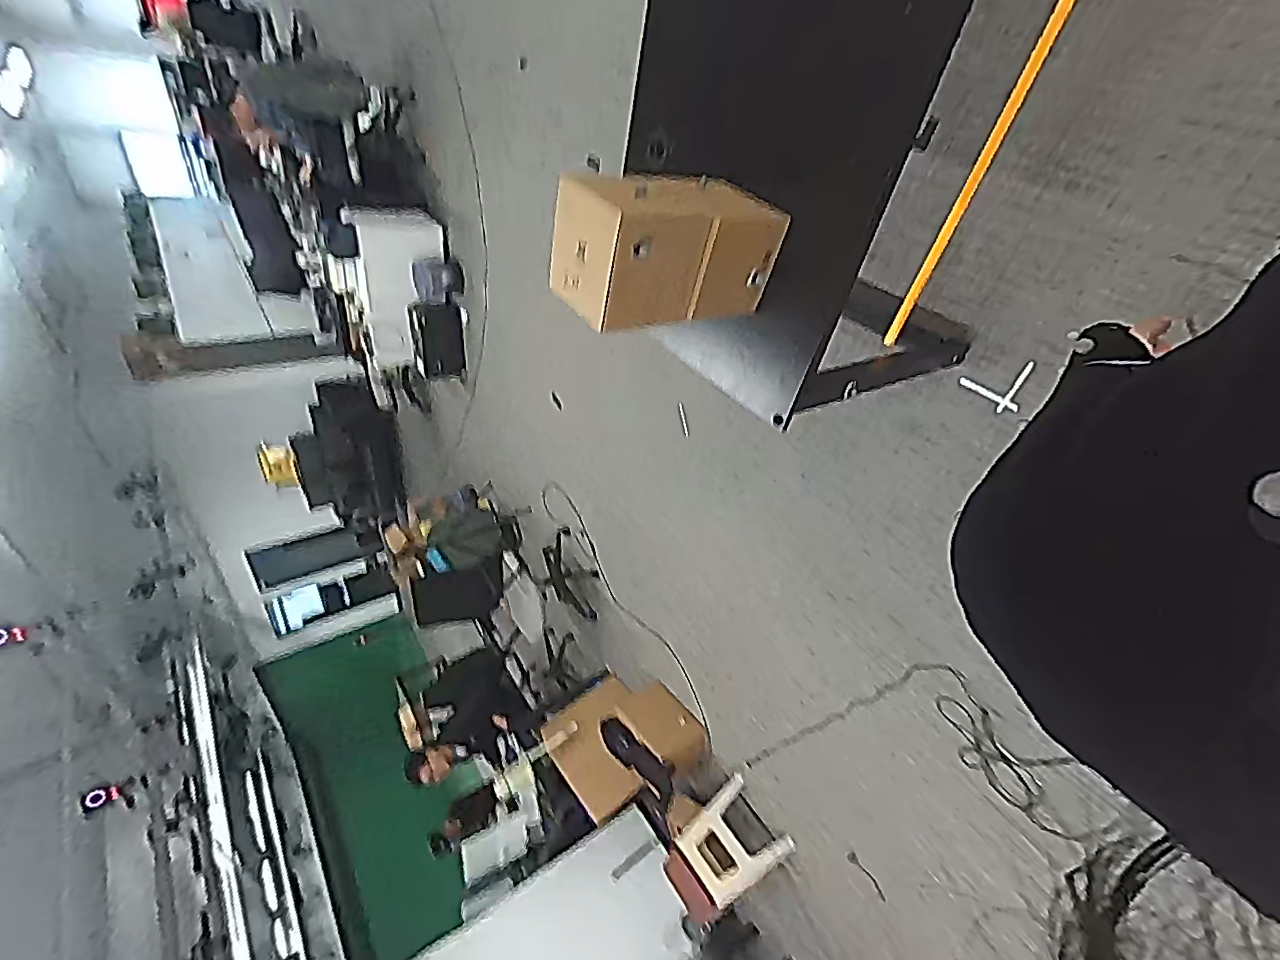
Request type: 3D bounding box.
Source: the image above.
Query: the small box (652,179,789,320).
[{"bbox_3d":[0.118,-0.395,0.925,0.179,0.176,0.168,47,141,31],"label":"small box"}]

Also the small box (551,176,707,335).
[{"bbox_3d":[-0.019,-0.352,0.842,0.168,0.176,0.179,48,141,32],"label":"small box"}]
